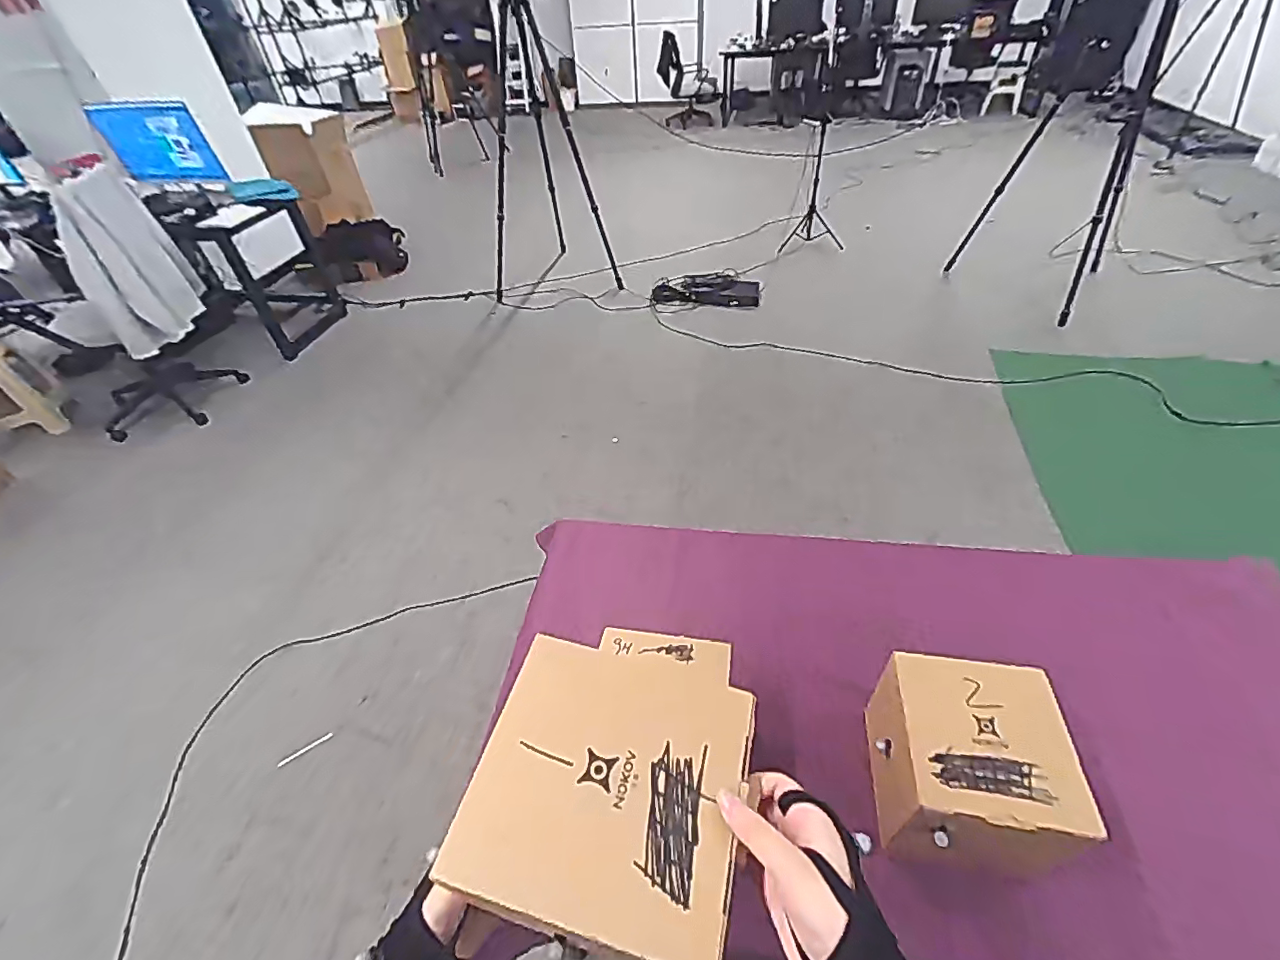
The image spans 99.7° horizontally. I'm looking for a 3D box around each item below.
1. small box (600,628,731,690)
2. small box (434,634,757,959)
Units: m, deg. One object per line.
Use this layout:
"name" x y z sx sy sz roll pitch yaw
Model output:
"small box" 0.022 0.317 0.684 0.168 0.176 0.179 6 45 10
"small box" -0.022 0.252 0.421 0.179 0.176 0.168 14 48 10
